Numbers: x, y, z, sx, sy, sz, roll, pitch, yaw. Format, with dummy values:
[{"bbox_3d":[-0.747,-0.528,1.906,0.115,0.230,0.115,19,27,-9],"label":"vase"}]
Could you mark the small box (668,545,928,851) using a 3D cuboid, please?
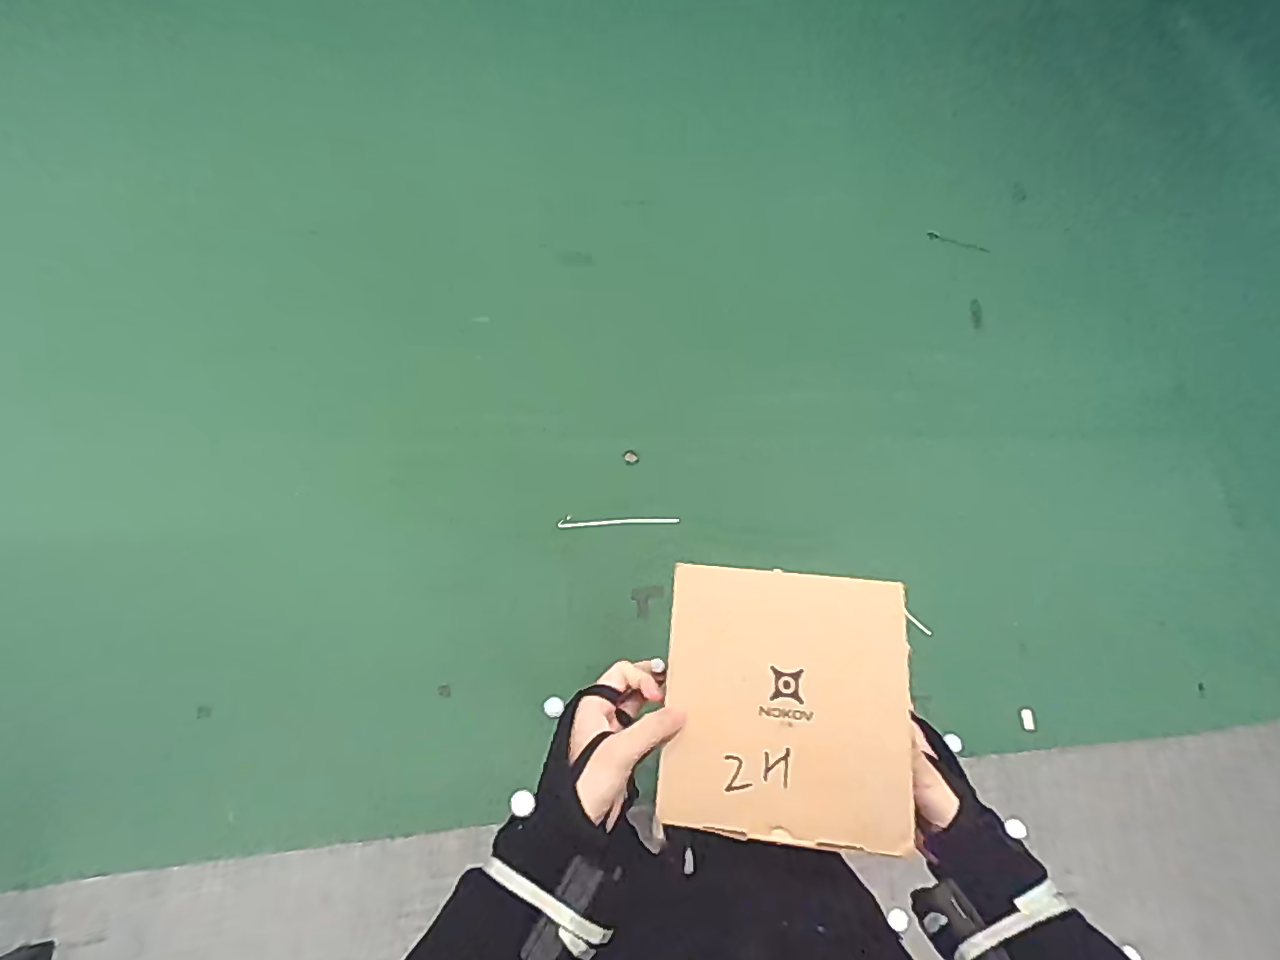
[{"bbox_3d":[0.113,0.165,0.443,0.168,0.176,0.179,6,72,6],"label":"small box"}]
